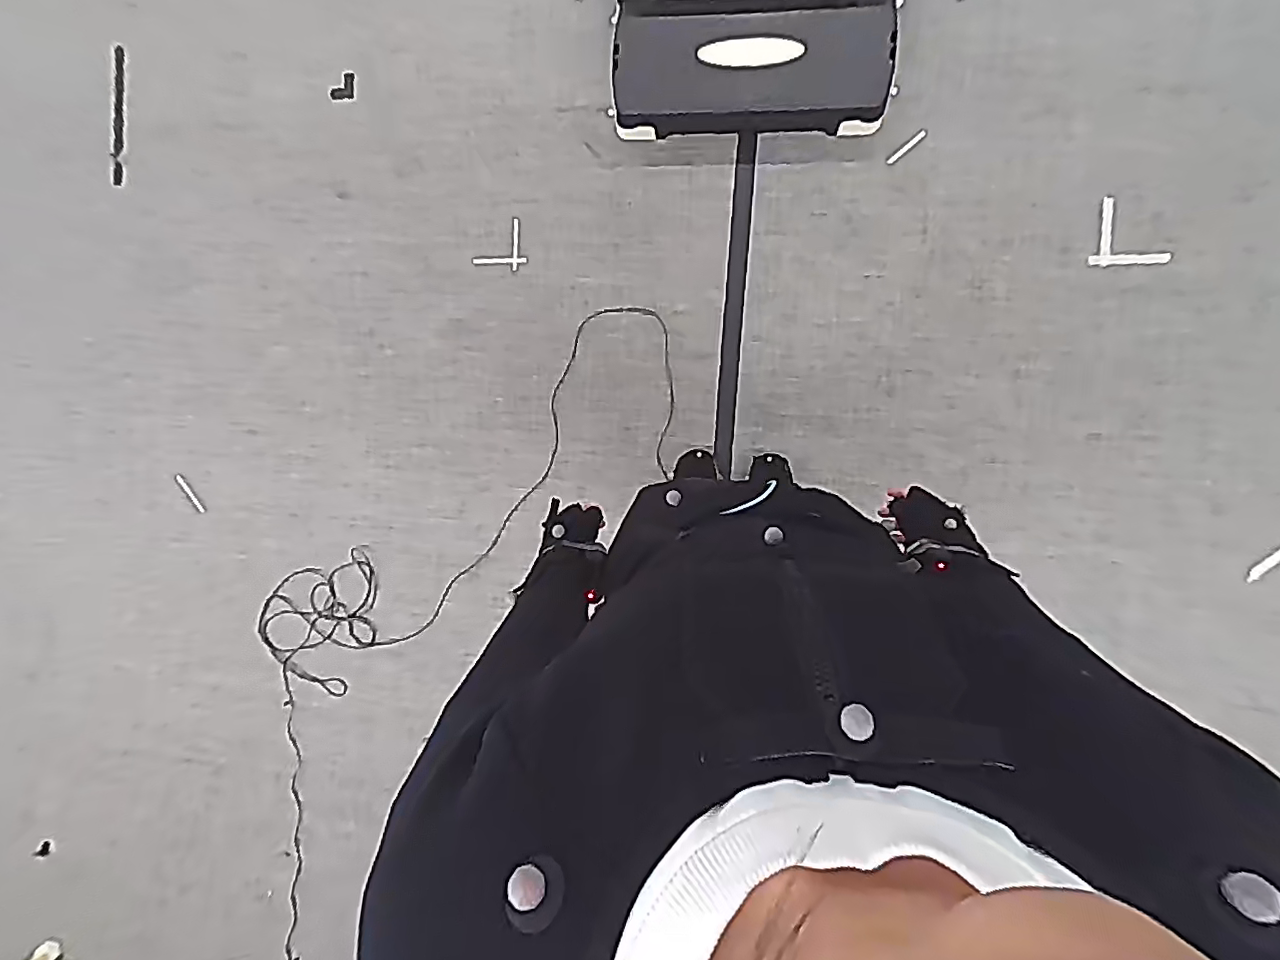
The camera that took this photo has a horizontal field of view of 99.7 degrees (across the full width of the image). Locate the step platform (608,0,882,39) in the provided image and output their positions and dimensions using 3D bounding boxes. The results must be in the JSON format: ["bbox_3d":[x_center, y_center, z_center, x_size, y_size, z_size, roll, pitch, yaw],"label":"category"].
[{"bbox_3d":[0.252,-1.265,1.261,0.684,0.204,0.286,2,94,7],"label":"step platform"}]
